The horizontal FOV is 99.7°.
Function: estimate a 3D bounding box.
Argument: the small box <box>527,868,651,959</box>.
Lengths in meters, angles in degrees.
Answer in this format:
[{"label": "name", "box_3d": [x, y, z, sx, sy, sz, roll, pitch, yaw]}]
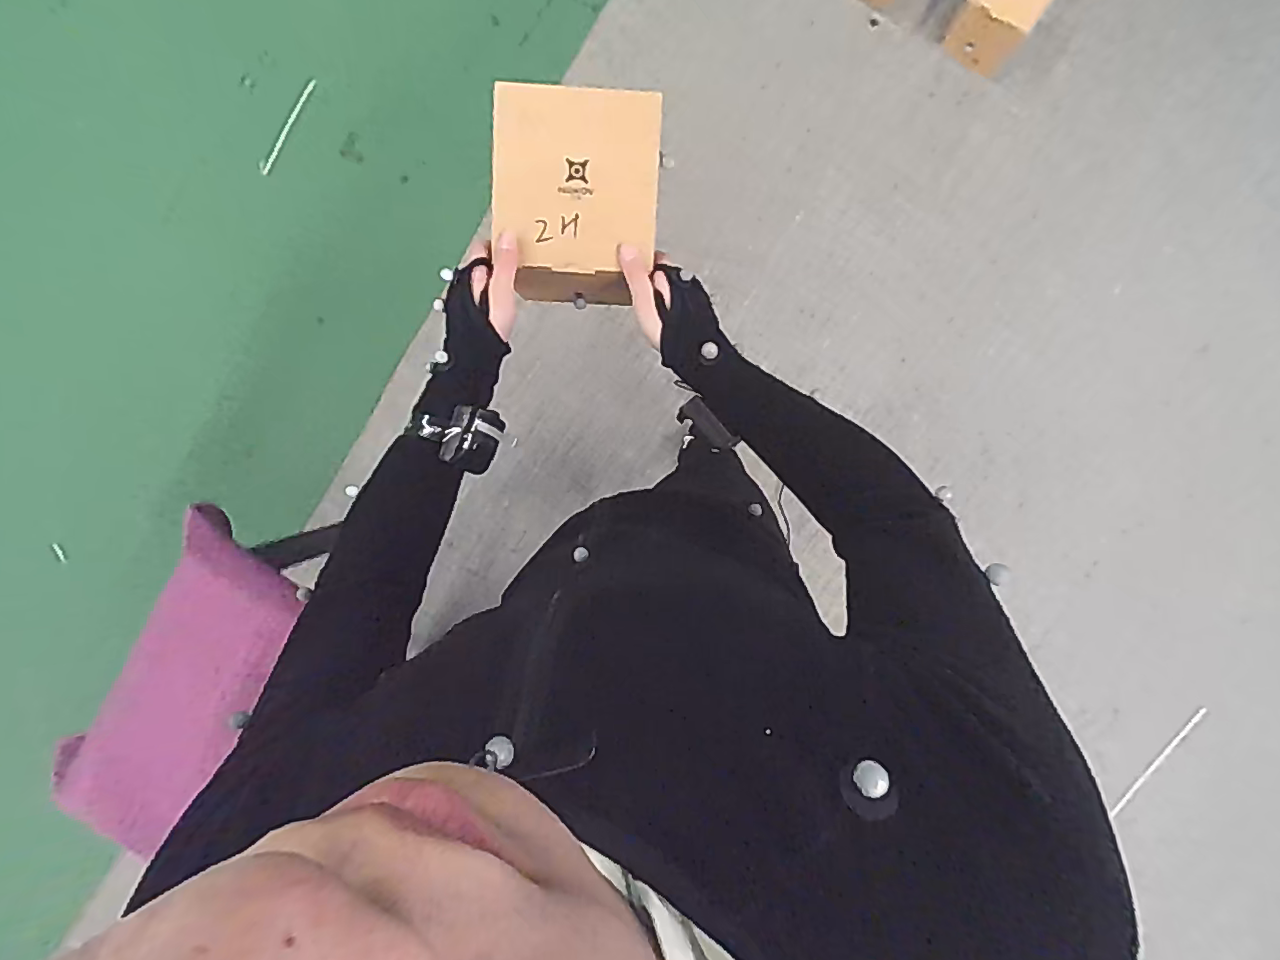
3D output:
[{"label": "small box", "box_3d": [-0.091, 0.807, 0.900, 0.168, 0.176, 0.179, 30, 100, 3]}]

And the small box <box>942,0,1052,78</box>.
[{"label": "small box", "box_3d": [0.895, -1.163, 1.341, 0.168, 0.176, 0.179, 32, 99, 2]}]
